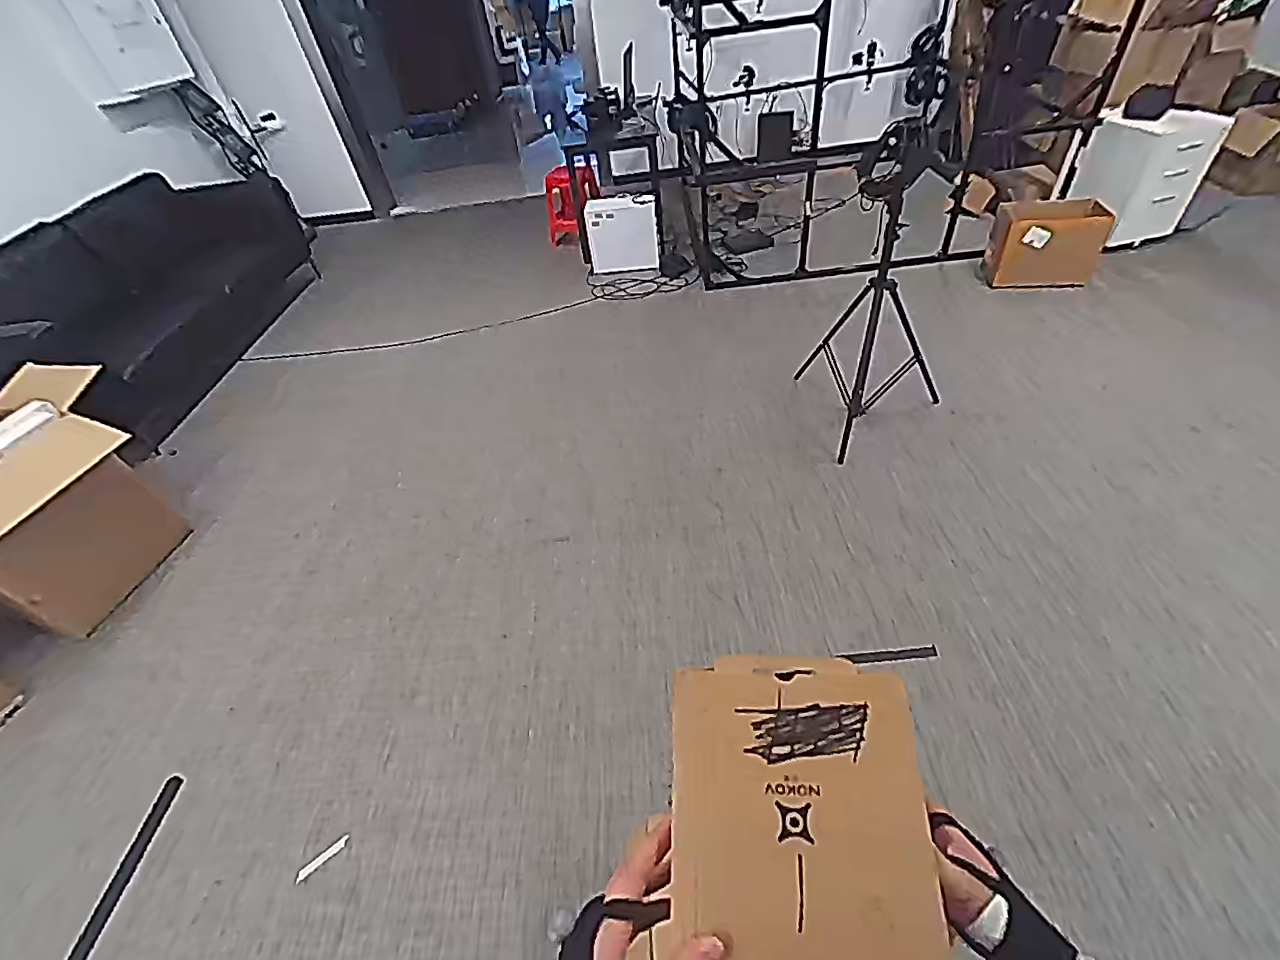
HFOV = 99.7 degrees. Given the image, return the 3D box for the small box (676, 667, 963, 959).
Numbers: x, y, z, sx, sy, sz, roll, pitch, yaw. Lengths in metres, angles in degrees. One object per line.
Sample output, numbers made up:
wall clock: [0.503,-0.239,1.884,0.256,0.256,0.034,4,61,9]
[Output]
small box: [0.118,0.253,0.419,0.168,0.176,0.179,-3,61,10]
